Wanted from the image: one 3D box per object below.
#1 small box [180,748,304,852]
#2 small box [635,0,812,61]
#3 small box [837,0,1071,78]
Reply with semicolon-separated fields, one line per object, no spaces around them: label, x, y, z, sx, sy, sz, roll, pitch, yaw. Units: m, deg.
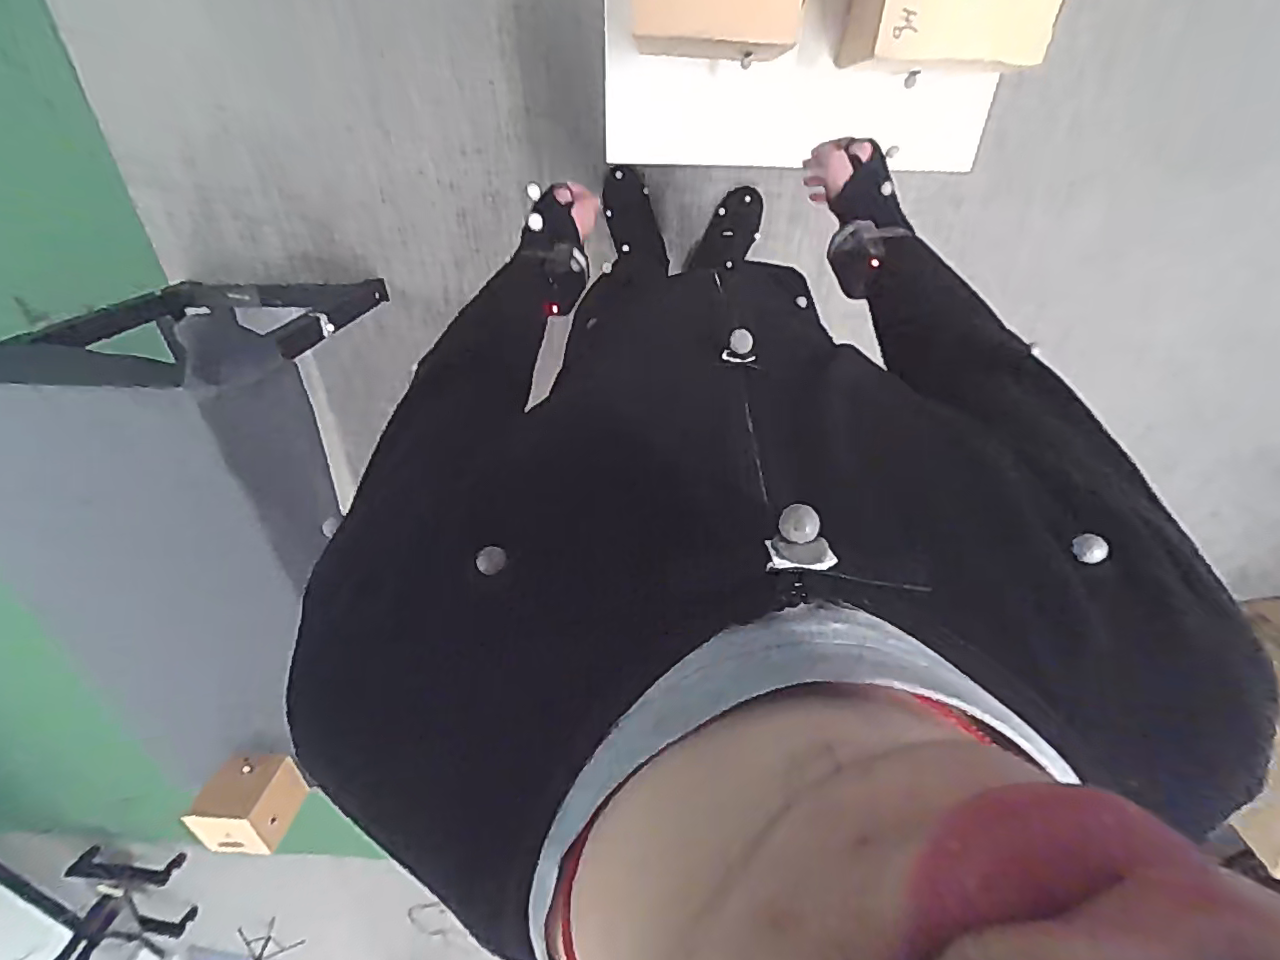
small box;-1.008;0.821;1.391;0.168;0.176;0.179;2;123;1
small box;0.088;-0.560;0.574;0.179;0.176;0.168;4;123;0
small box;0.337;-0.539;0.577;0.179;0.176;0.168;4;124;-1
